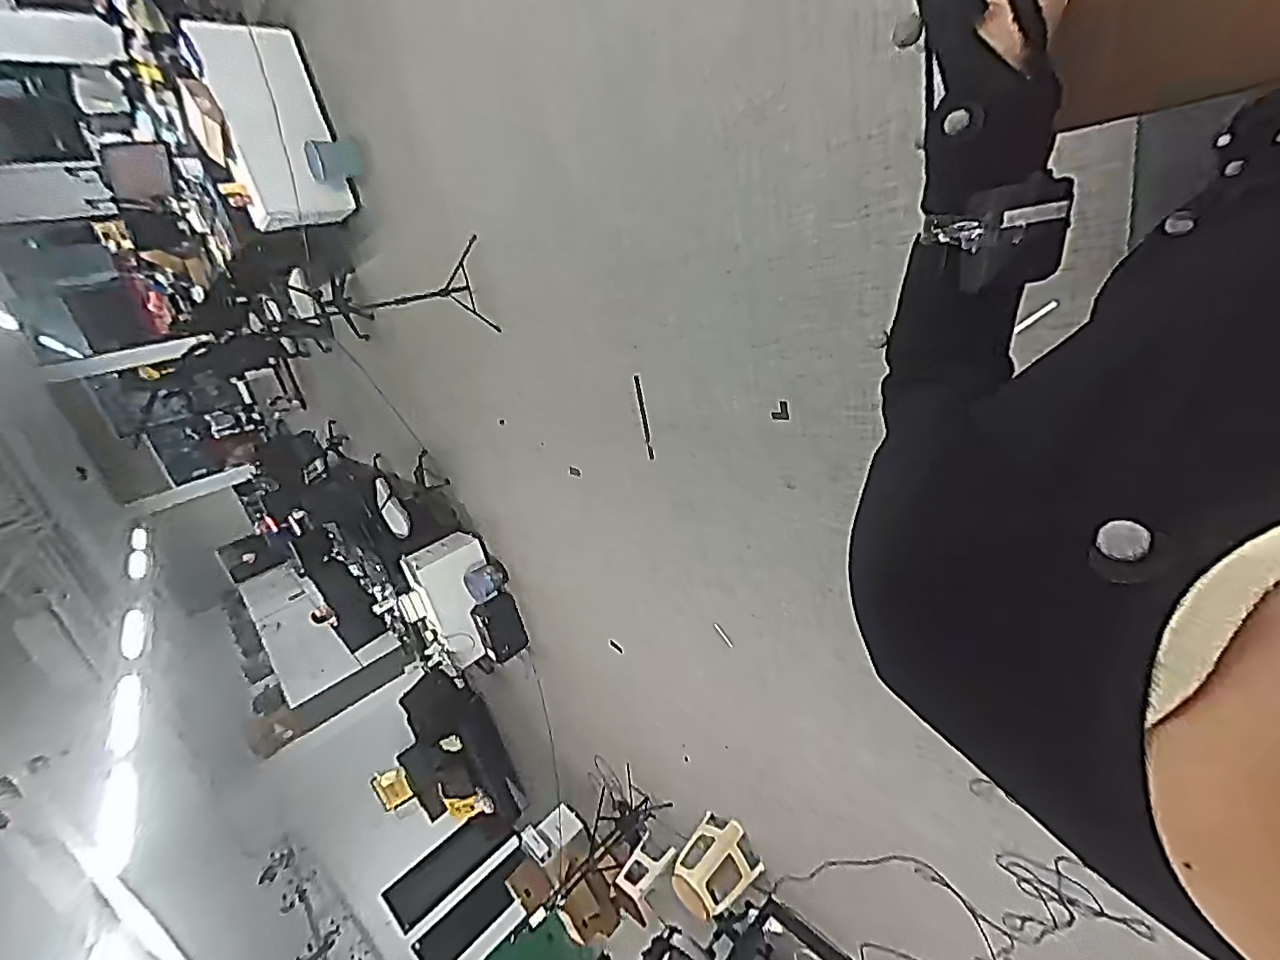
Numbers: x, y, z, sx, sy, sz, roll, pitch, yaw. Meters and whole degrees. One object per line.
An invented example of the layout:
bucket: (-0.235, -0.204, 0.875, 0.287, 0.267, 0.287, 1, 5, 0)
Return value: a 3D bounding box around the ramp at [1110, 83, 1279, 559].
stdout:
ramp: (1.154, -0.247, 0.935, 0.509, 0.206, 0.991, 7, 120, 47)
